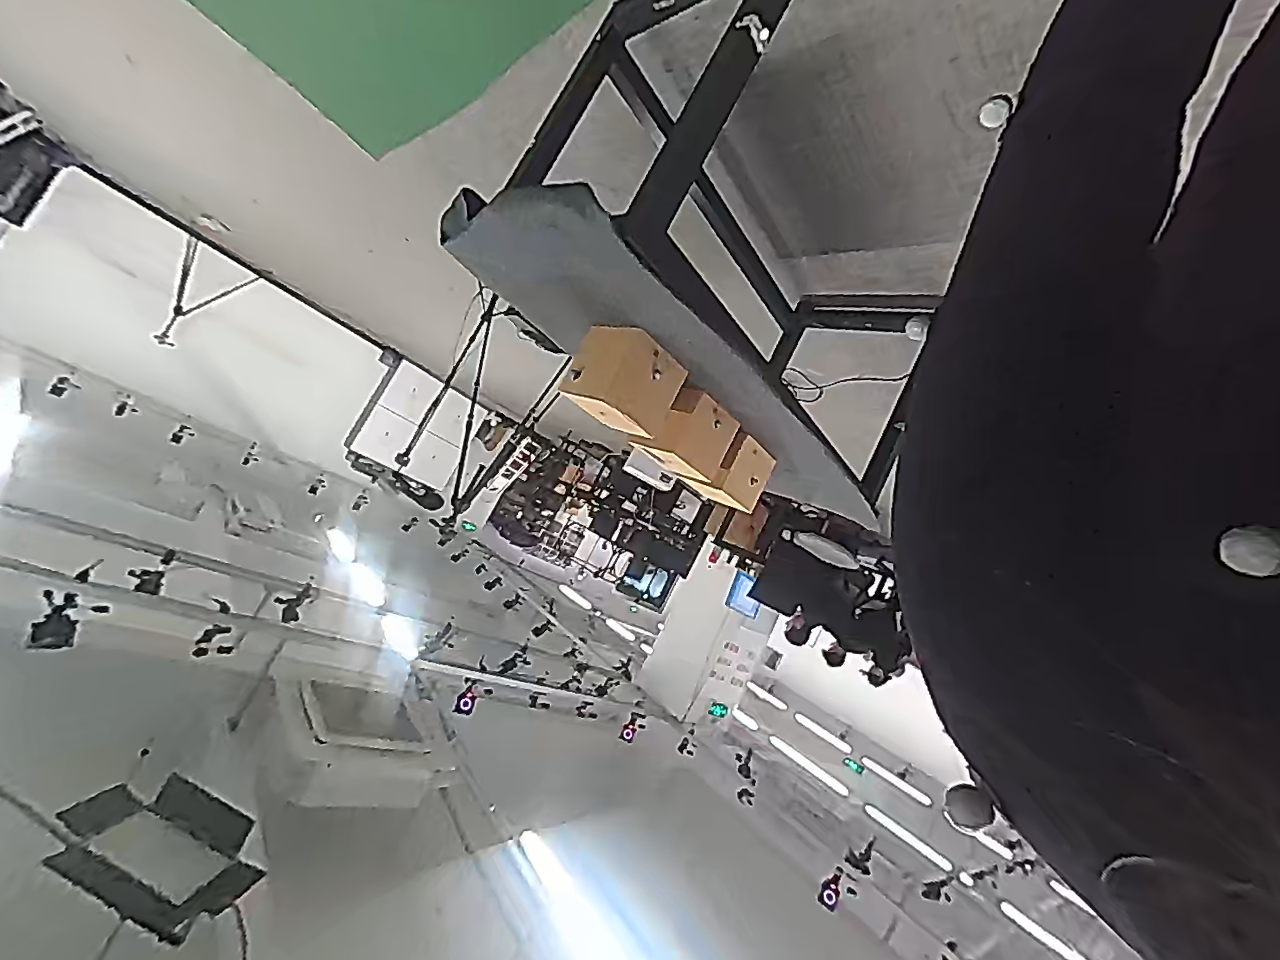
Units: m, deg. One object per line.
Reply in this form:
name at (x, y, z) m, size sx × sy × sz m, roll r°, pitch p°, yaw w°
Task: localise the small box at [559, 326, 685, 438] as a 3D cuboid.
small box at (-0.035, -0.216, 1.167) m, size 0.179 × 0.176 × 0.168 m, roll 20°, pitch 170°, yaw 47°
